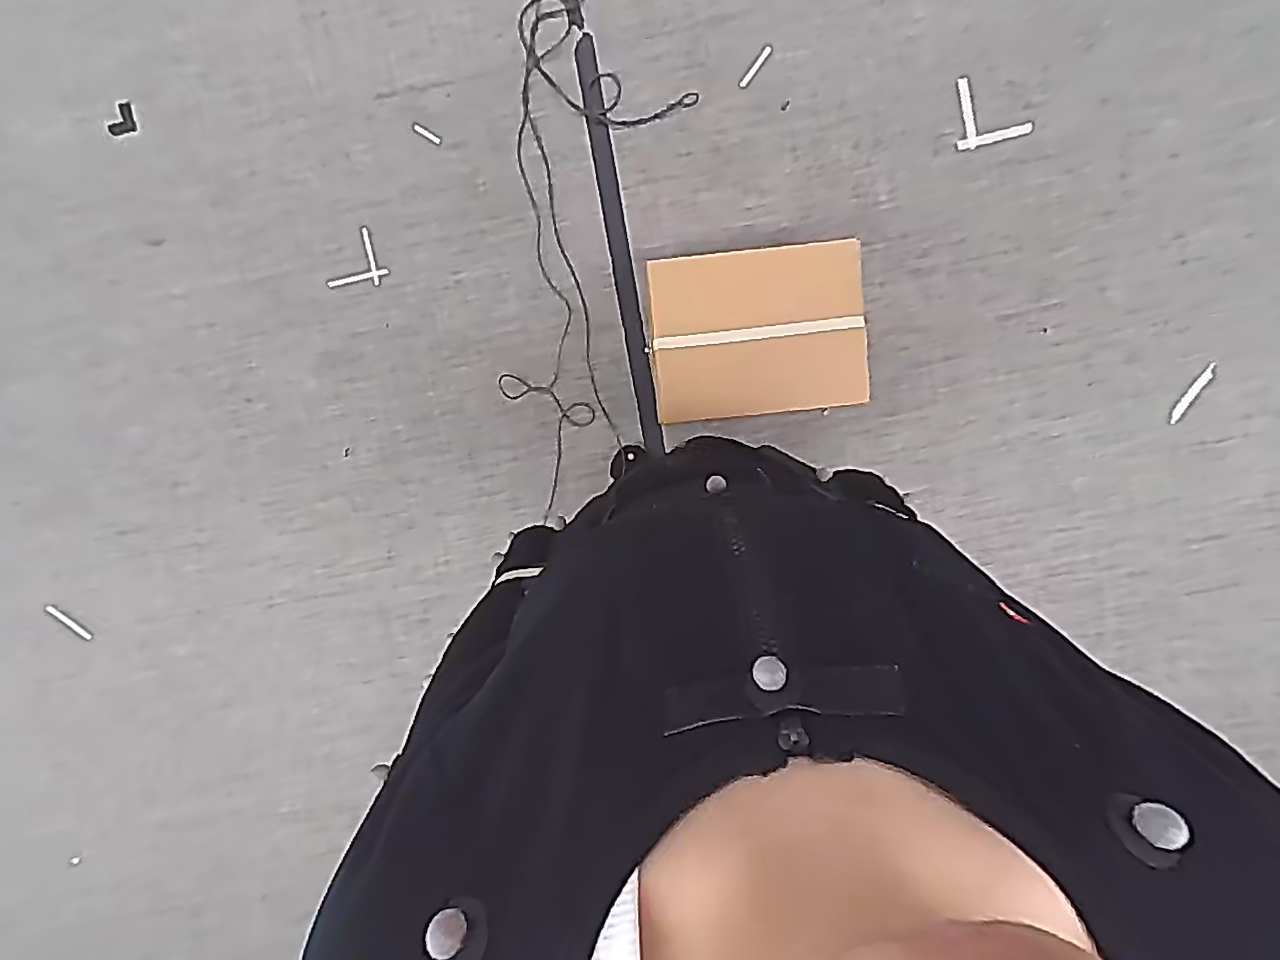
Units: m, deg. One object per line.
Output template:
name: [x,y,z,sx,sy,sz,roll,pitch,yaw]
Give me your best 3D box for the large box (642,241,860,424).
large box: [0.222,-0.299,1.196,0.408,0.320,0.320,-6,95,1]
